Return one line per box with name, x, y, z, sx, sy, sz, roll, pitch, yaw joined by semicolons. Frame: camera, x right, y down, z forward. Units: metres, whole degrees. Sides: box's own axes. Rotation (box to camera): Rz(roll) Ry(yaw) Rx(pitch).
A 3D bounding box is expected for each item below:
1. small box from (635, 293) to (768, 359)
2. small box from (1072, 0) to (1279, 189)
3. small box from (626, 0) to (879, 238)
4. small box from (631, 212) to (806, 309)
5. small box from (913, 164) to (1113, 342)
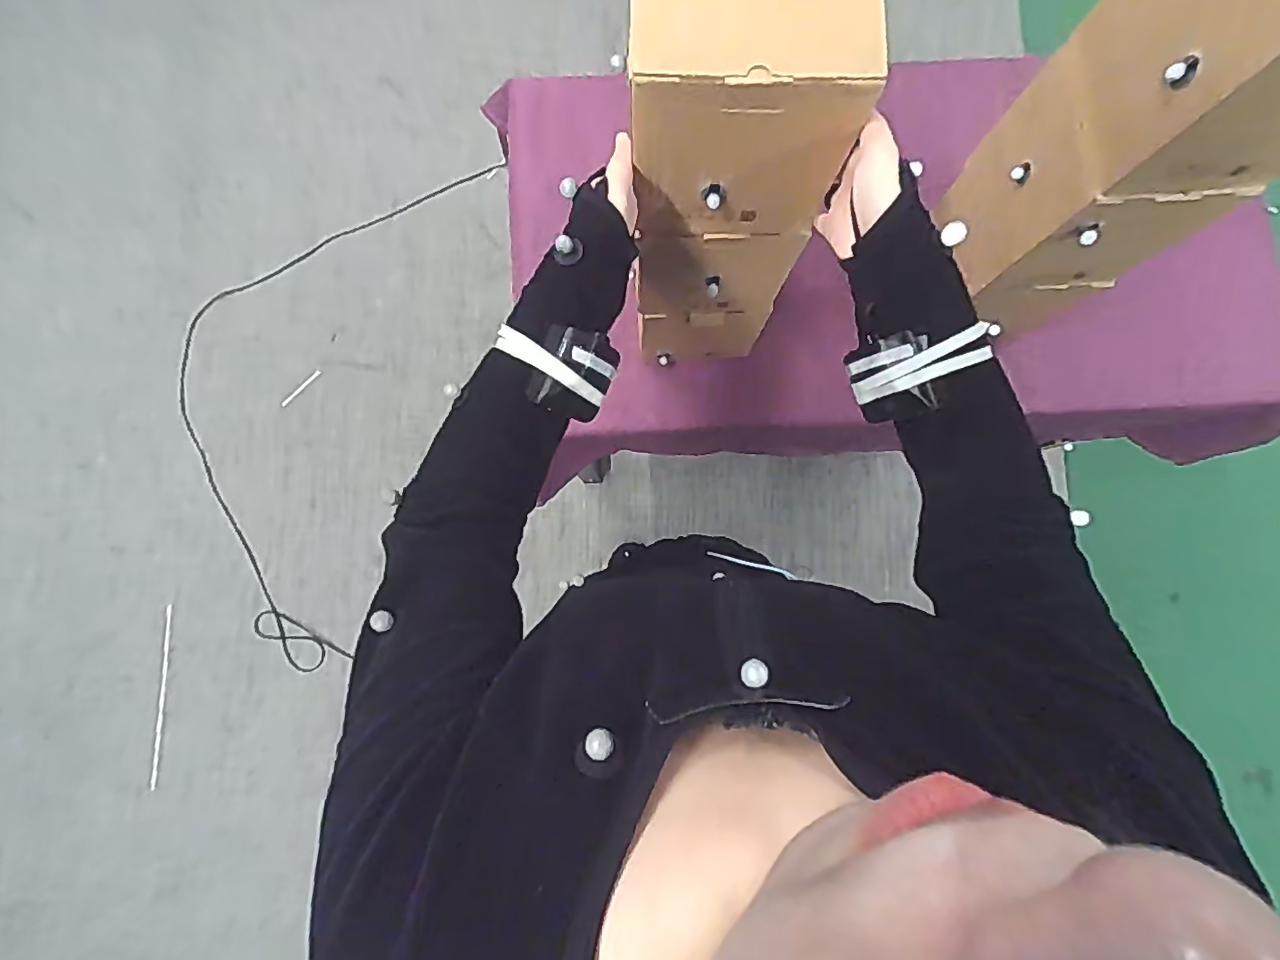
small box;0.076;-0.278;0.762;0.168;0.176;0.179;-3;82;-1
small box;0.506;-0.364;0.442;0.168;0.176;0.179;-3;82;-1
small box;0.073;-0.325;0.436;0.168;0.176;0.179;1;84;0
small box;0.074;-0.300;0.599;0.168;0.176;0.179;-2;84;-1
small box;0.509;-0.311;0.766;0.168;0.176;0.179;-1;82;1
